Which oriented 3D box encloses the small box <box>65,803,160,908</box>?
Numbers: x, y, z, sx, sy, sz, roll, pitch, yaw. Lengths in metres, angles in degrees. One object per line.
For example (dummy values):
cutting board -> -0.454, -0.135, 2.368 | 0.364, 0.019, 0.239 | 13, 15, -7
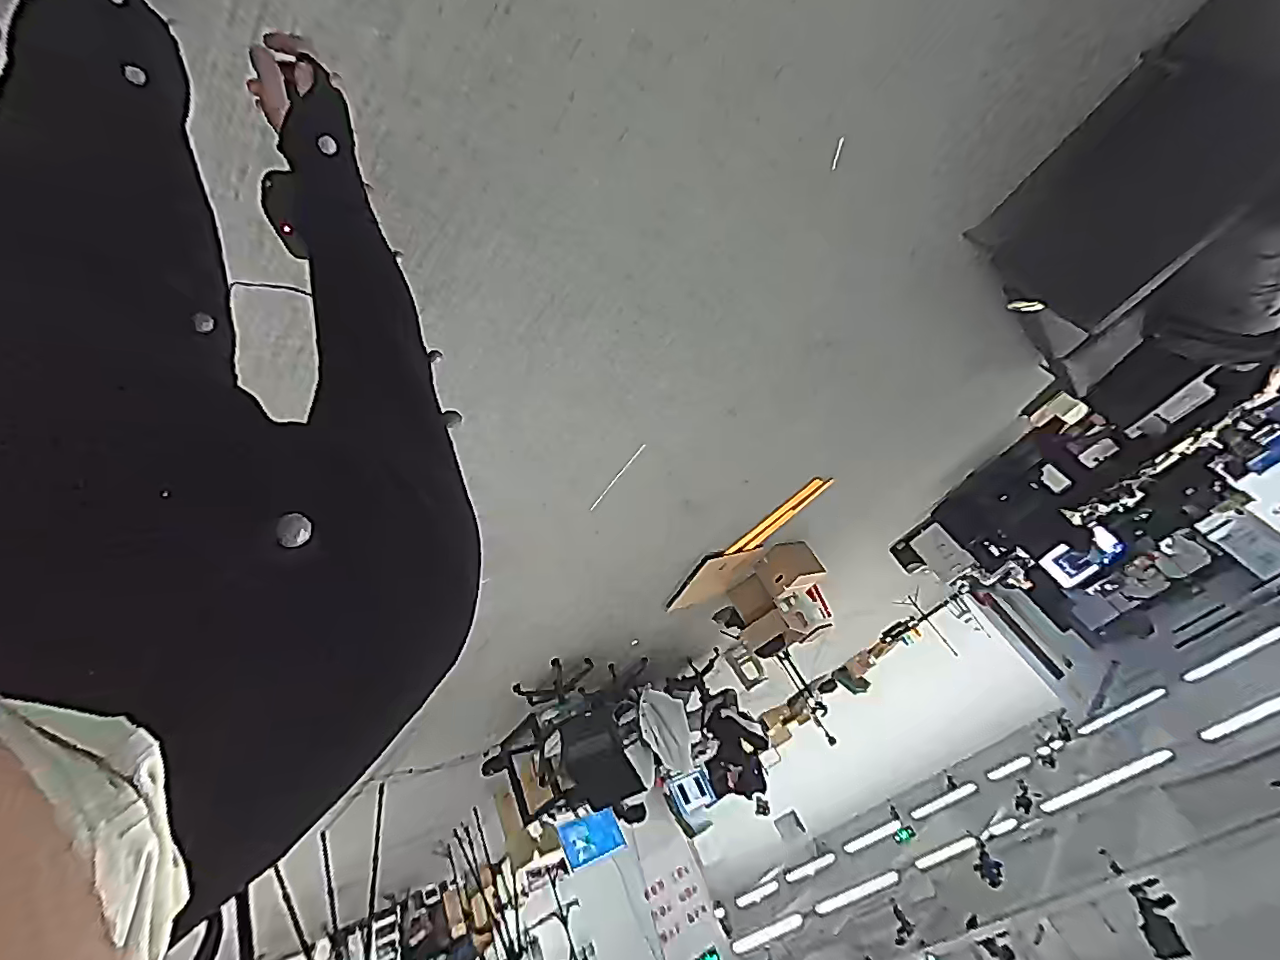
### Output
small box -> -1.451, 1.030, 1.494 | 0.168, 0.176, 0.179 | 10, 130, -45
